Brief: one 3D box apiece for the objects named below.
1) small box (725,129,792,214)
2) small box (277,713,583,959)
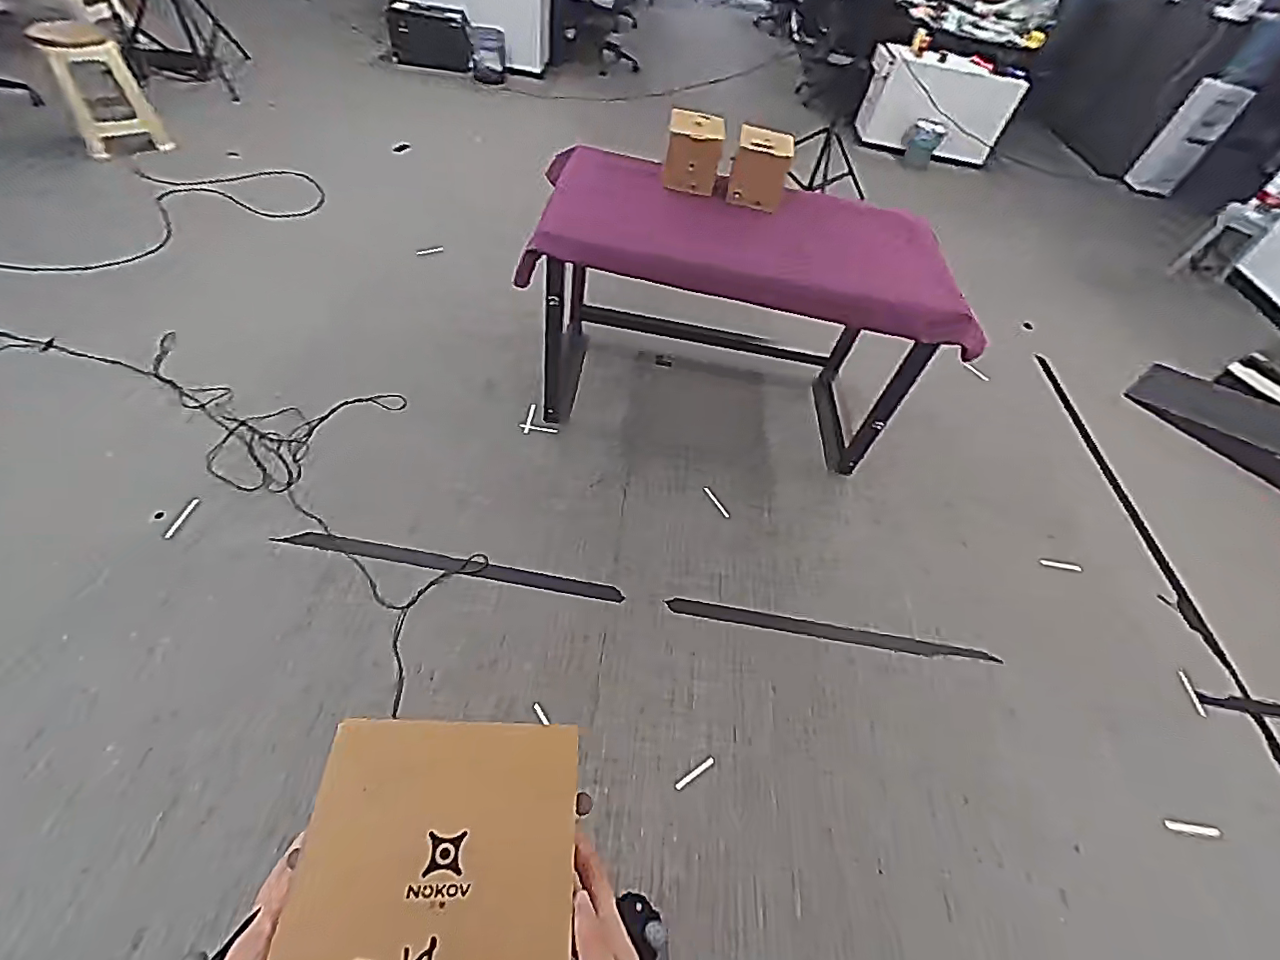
[{"bbox_3d":[0.373,-0.972,1.709,0.168,0.176,0.179,13,51,-1],"label":"small box"},{"bbox_3d":[-0.138,0.288,0.393,0.168,0.176,0.179,7,49,-12],"label":"small box"}]
